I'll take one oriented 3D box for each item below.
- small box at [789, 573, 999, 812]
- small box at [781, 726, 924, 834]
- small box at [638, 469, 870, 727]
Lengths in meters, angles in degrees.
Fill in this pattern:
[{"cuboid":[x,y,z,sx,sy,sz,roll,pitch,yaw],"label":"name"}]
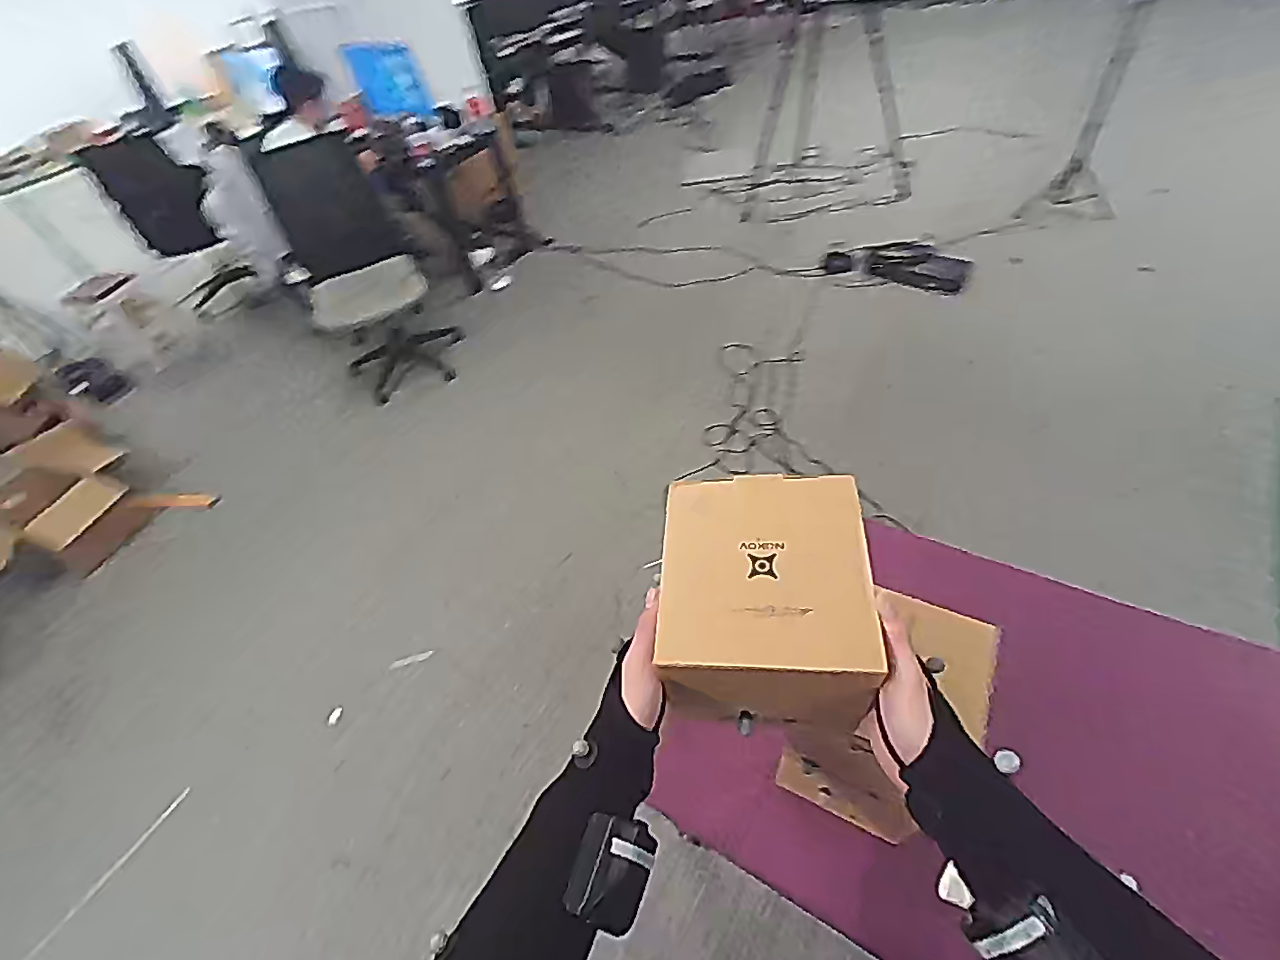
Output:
[{"cuboid":[0.275,0.238,0.611,0.168,0.176,0.179,19,54,25],"label":"small box"},{"cuboid":[0.299,0.344,0.735,0.168,0.176,0.179,18,55,24],"label":"small box"},{"cuboid":[0.100,0.109,0.495,0.168,0.176,0.179,-2,53,12],"label":"small box"}]
